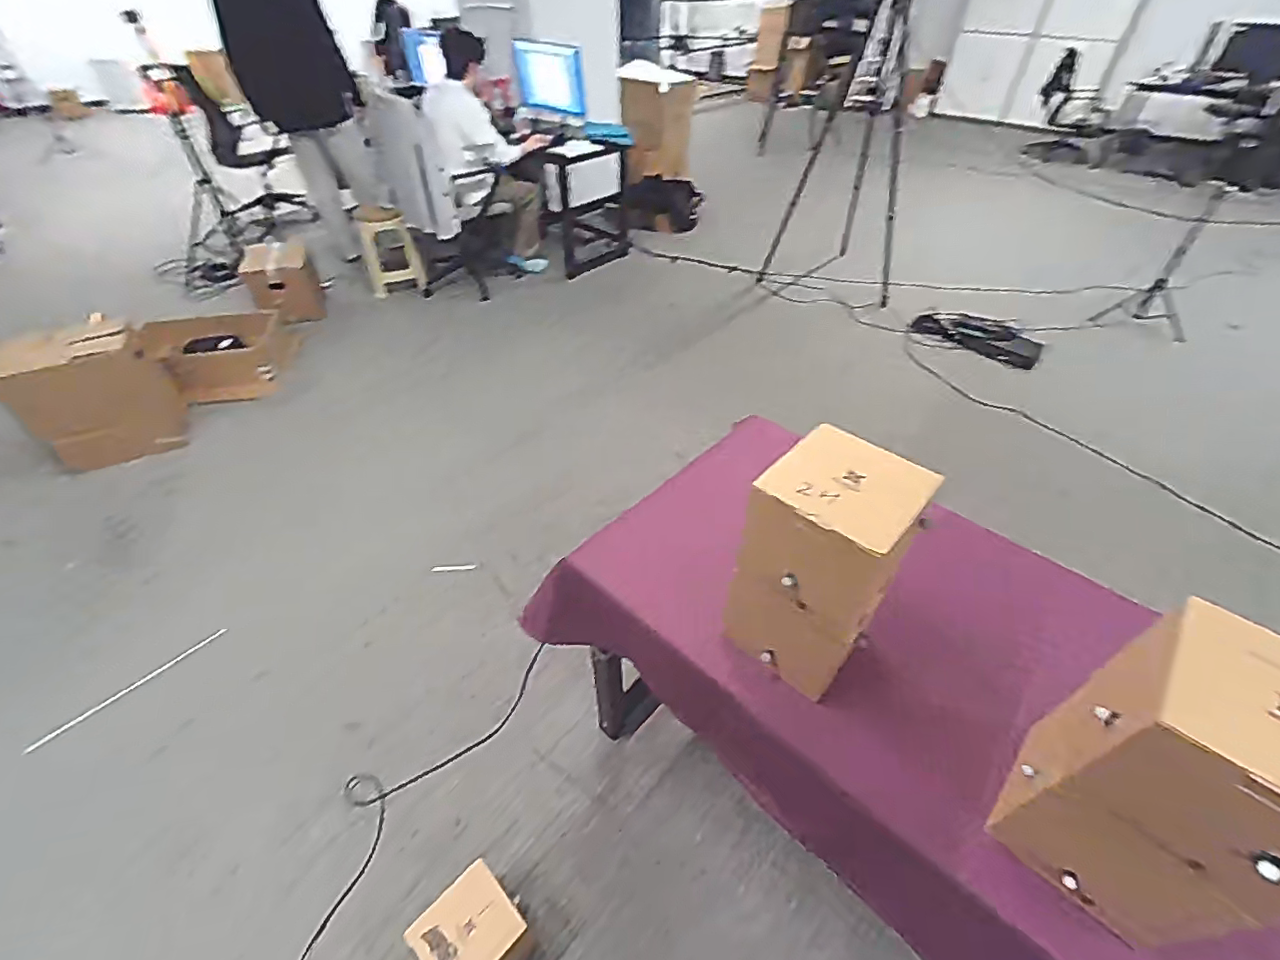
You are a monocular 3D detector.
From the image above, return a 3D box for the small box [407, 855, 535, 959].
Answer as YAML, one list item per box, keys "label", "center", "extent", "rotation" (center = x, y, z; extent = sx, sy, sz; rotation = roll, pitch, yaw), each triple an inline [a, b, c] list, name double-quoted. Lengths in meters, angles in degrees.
- label: "small box"
  center: [-0.334, 0.920, 1.097]
  extent: [0.168, 0.176, 0.179]
  rotation: [34, 51, 30]

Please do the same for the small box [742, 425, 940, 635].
- label: "small box"
  center: [0.250, 0.062, 0.709]
  extent: [0.168, 0.176, 0.179]
  rotation: [33, 52, 30]

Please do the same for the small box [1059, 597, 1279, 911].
- label: "small box"
  center: [0.542, 0.255, 0.510]
  extent: [0.168, 0.176, 0.179]
  rotation: [34, 52, 30]

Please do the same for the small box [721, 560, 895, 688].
- label: "small box"
  center: [0.245, 0.185, 0.820]
  extent: [0.179, 0.176, 0.168]
  rotation: [32, 51, 28]
